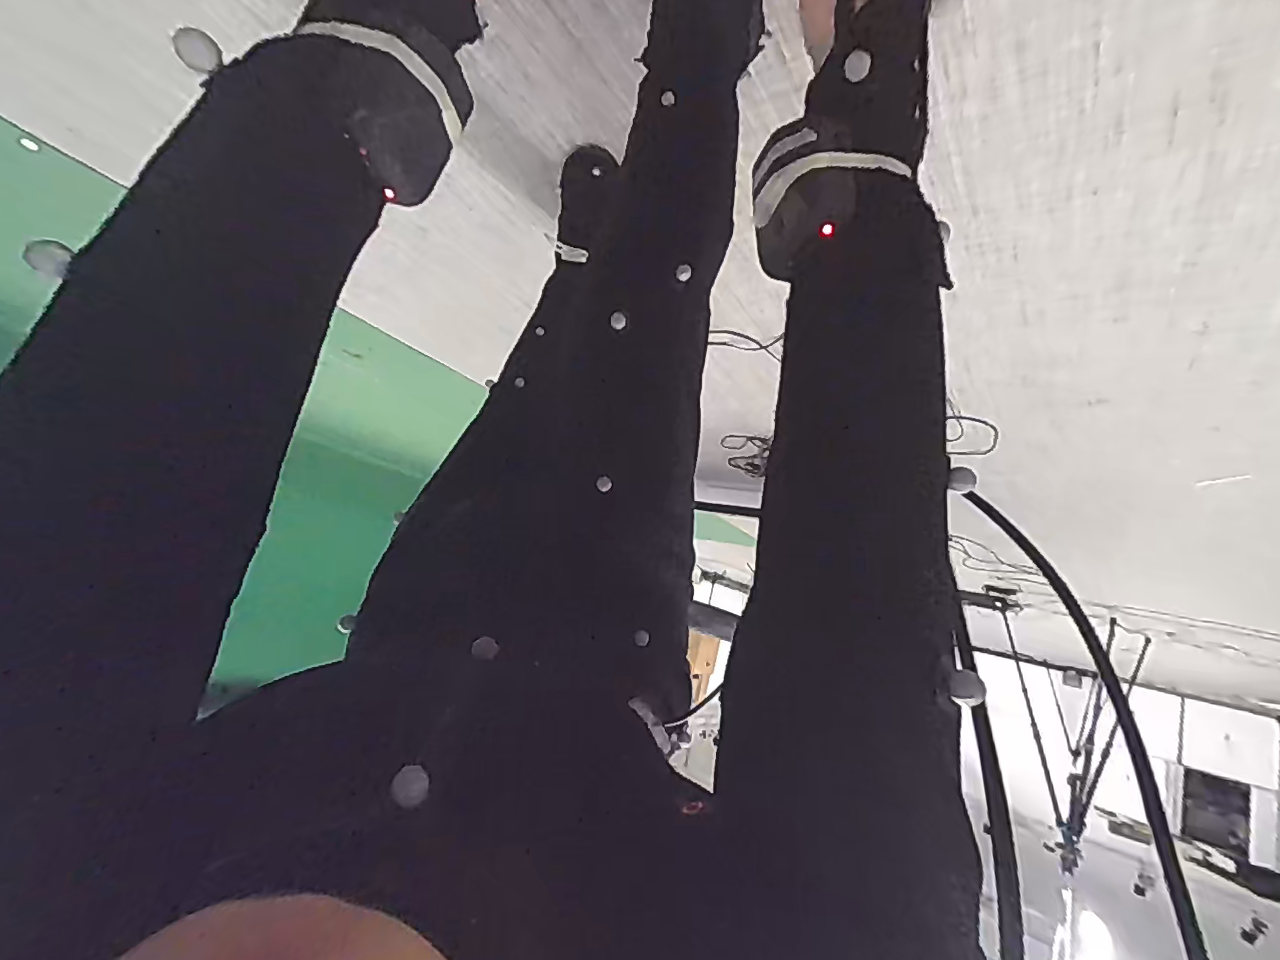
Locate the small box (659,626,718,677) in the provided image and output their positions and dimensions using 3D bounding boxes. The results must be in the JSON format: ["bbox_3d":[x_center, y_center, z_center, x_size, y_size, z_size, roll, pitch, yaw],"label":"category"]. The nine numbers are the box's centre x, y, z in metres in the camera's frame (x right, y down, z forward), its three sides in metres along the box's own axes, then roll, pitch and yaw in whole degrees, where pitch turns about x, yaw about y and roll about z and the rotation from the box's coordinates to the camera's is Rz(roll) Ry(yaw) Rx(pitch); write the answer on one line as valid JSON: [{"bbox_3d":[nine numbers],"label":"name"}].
[{"bbox_3d":[0.207,0.710,2.250,0.168,0.176,0.179,6,166,37],"label":"small box"}]
